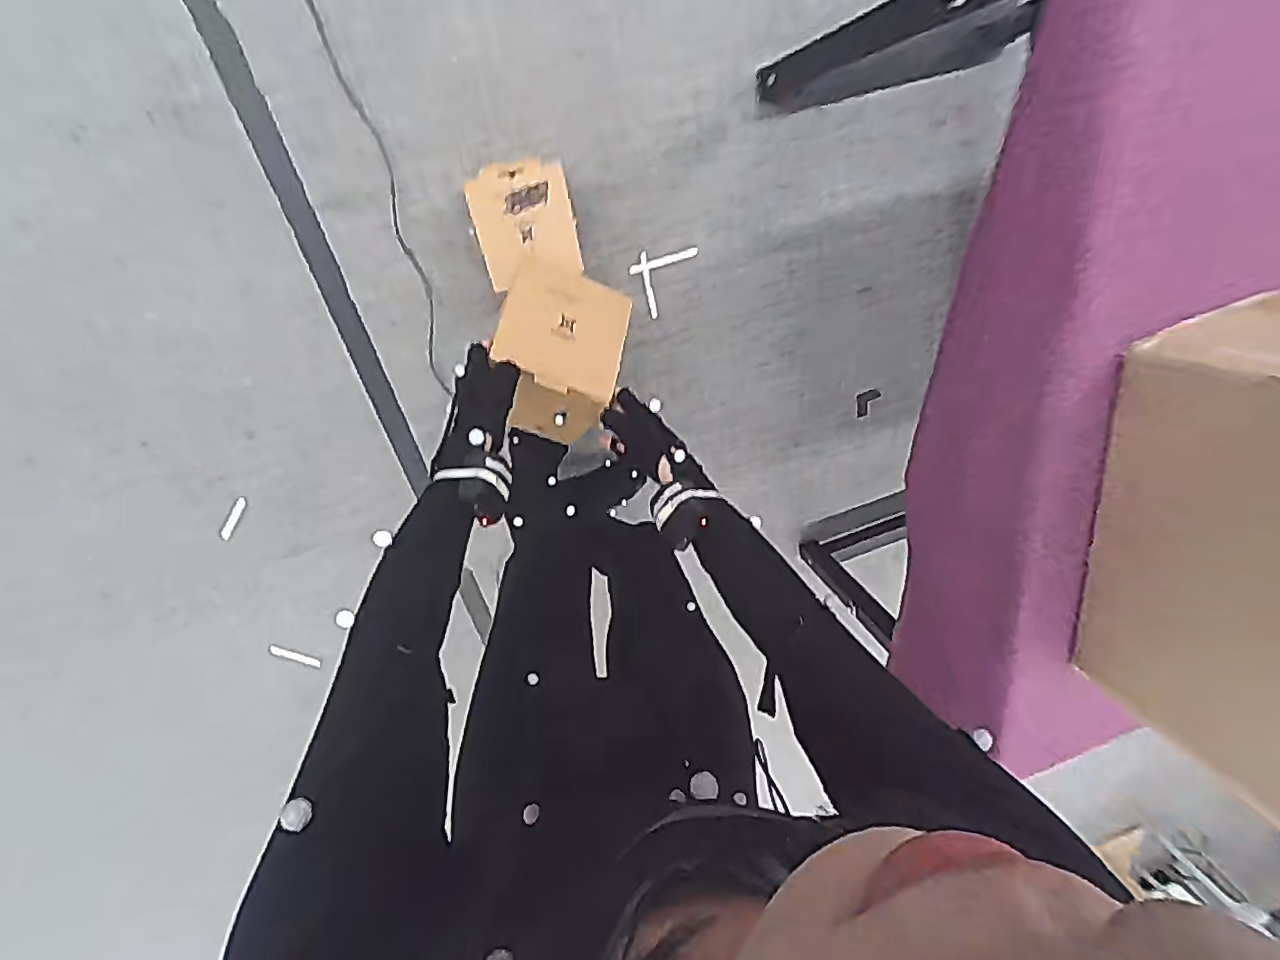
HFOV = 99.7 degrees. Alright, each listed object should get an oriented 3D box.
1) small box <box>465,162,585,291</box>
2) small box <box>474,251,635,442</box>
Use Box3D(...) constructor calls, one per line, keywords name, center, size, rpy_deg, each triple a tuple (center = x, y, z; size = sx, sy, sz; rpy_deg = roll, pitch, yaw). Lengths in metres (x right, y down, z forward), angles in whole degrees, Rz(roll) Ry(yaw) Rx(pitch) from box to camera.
Box3D(name="small box", center=(-0.209, -0.454, 0.978), size=(0.168, 0.176, 0.179), rpy_deg=(-16, 118, -8))
Box3D(name="small box", center=(-0.127, -0.174, 0.767), size=(0.168, 0.176, 0.179), rpy_deg=(19, 65, -21))
